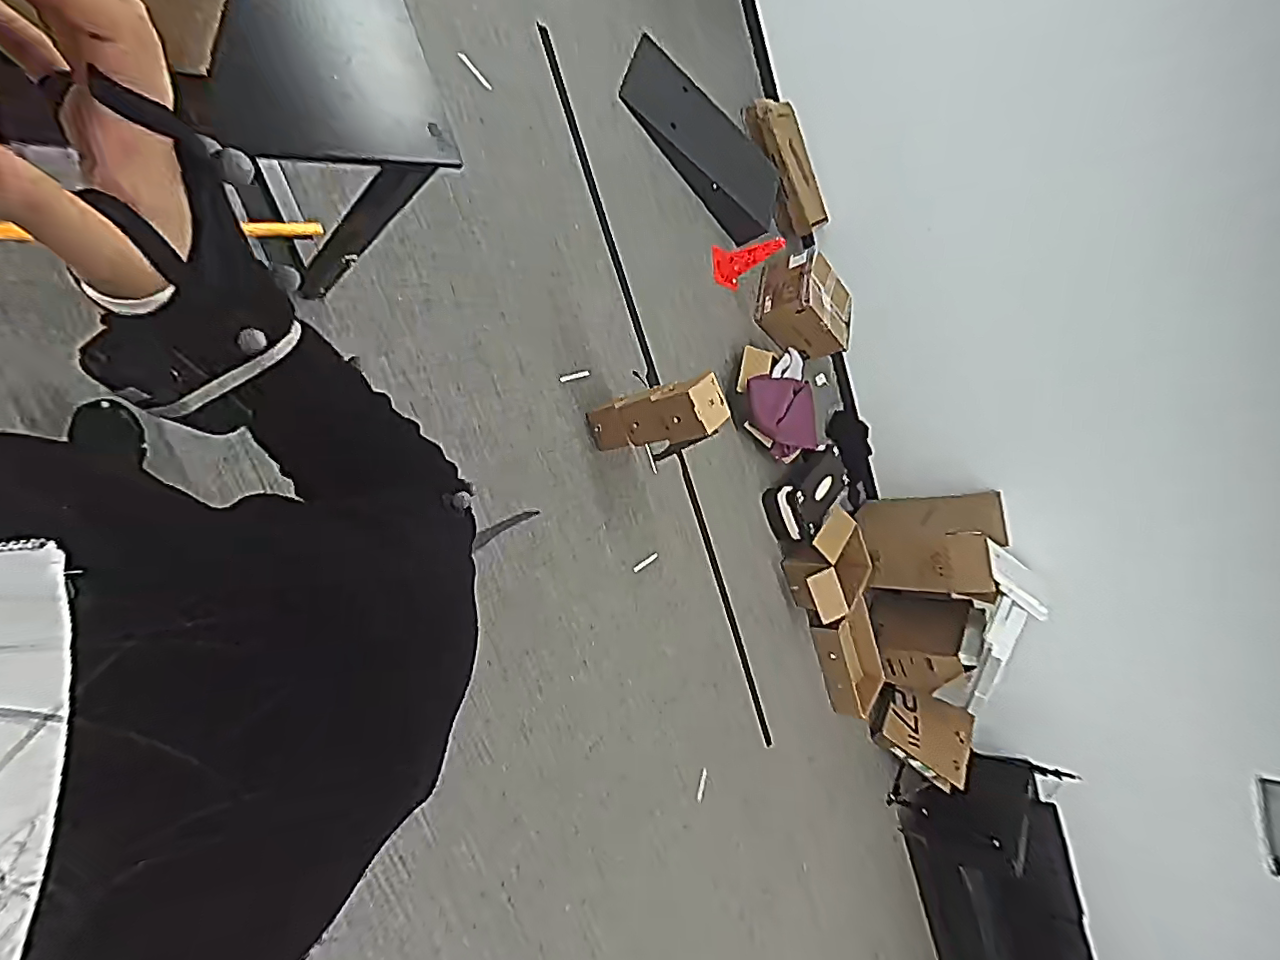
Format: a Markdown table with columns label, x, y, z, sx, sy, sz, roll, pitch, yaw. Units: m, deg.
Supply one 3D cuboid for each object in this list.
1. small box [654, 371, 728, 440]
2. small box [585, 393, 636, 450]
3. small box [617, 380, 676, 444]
| label | x | y | z | sx | sy | sz | roll | pitch | yaw |
| --- | --- | --- | --- | --- | --- | --- | --- | --- | --- |
| small box | 0.168 | -0.252 | 1.866 | 0.179 | 0.176 | 0.168 | -41 | 112 | -41 |
| small box | -0.079 | -0.227 | 2.082 | 0.179 | 0.176 | 0.168 | -32 | 106 | -43 |
| small box | 0.048 | -0.246 | 1.979 | 0.179 | 0.176 | 0.168 | -39 | 111 | -42 |
